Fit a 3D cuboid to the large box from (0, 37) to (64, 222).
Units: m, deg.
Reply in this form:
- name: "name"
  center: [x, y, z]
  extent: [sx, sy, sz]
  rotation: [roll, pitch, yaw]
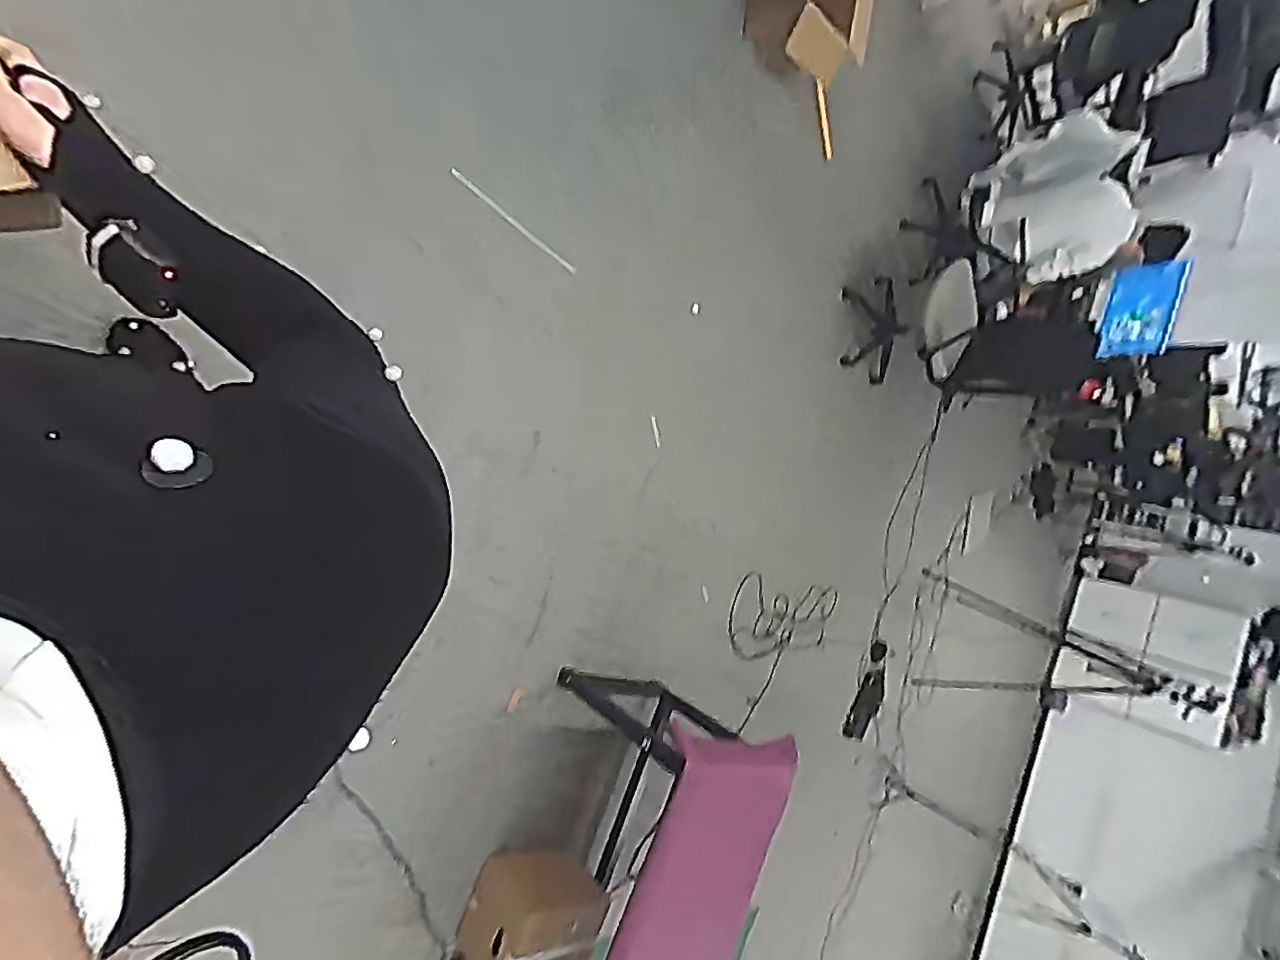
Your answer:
- name: "large box"
  center: [-0.772, -0.360, 0.395]
  extent: [0.408, 0.320, 0.320]
  rotation: [-29, 122, -39]
